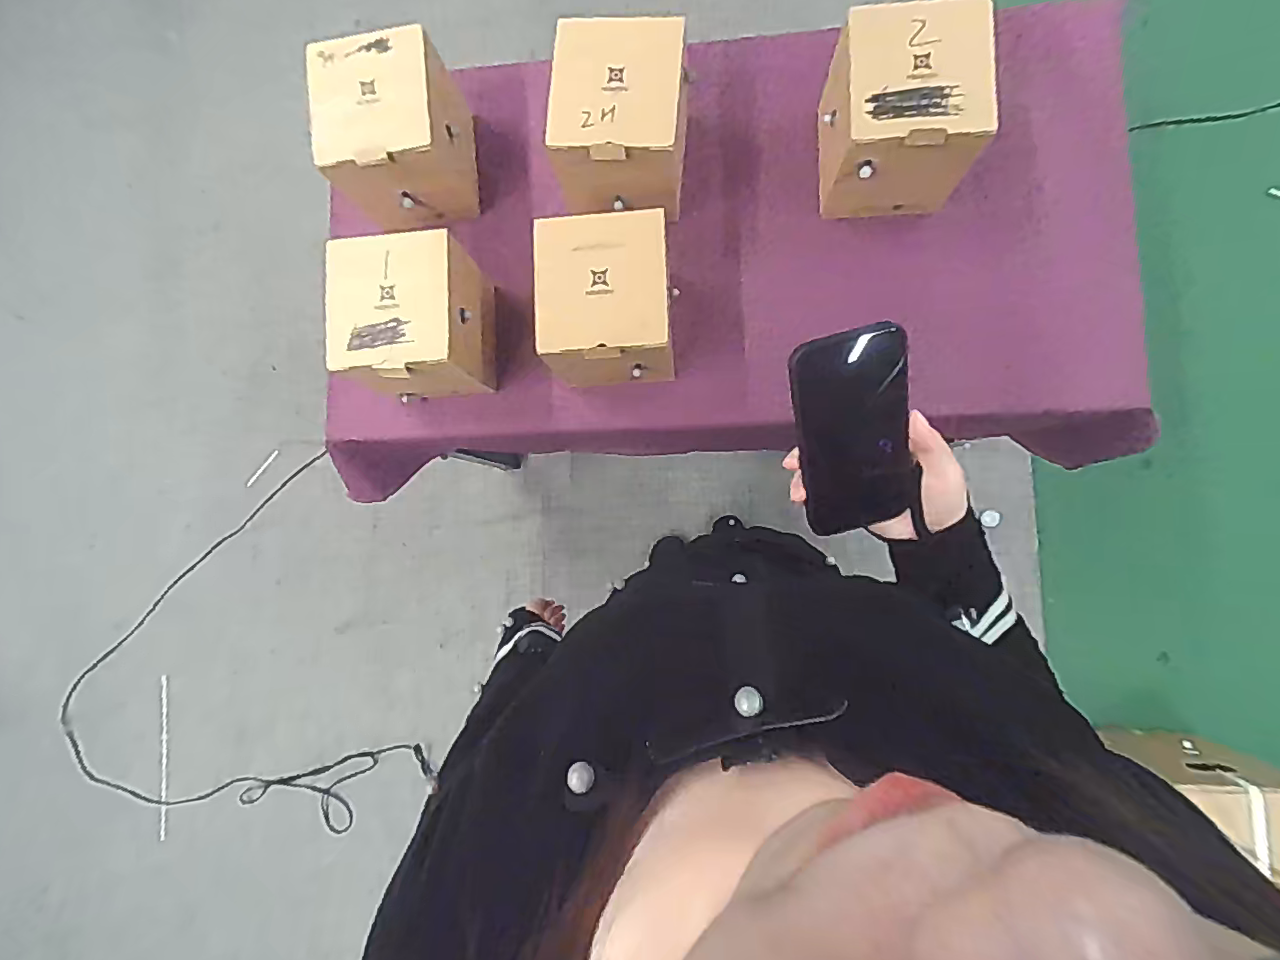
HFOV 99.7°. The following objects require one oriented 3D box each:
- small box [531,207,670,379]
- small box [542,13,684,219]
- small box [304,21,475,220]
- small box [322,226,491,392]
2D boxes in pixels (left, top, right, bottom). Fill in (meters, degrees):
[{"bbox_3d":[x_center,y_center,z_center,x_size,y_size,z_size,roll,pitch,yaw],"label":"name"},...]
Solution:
[{"bbox_3d":[-0.045,-0.240,0.742,0.168,0.176,0.179,-2,85,5],"label":"small box"},{"bbox_3d":[-0.027,-0.496,0.756,0.168,0.176,0.179,5,87,6],"label":"small box"},{"bbox_3d":[-0.353,-0.504,0.789,0.168,0.176,0.179,-6,87,5],"label":"small box"},{"bbox_3d":[-0.319,-0.227,0.767,0.168,0.176,0.179,-3,84,5],"label":"small box"}]
